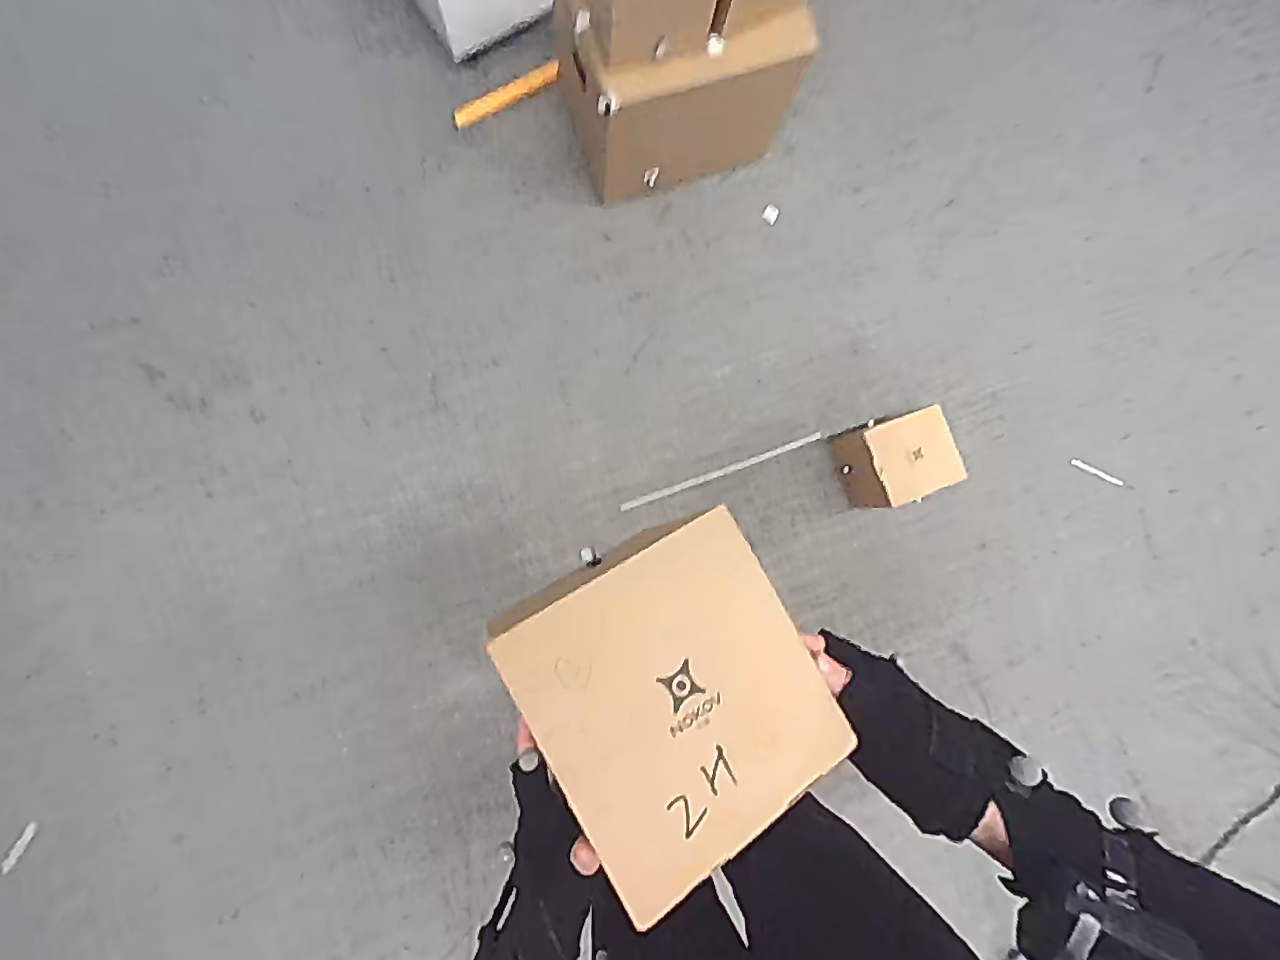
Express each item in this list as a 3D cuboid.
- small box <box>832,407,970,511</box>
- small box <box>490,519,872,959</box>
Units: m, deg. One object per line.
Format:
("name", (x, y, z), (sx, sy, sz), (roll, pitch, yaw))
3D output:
("small box", (0.546, -0.041, 1.152), (0.179, 0.176, 0.168), (-21, 89, -5))
("small box", (0.008, 0.147, 0.370), (0.168, 0.176, 0.179), (-28, 89, -18))
